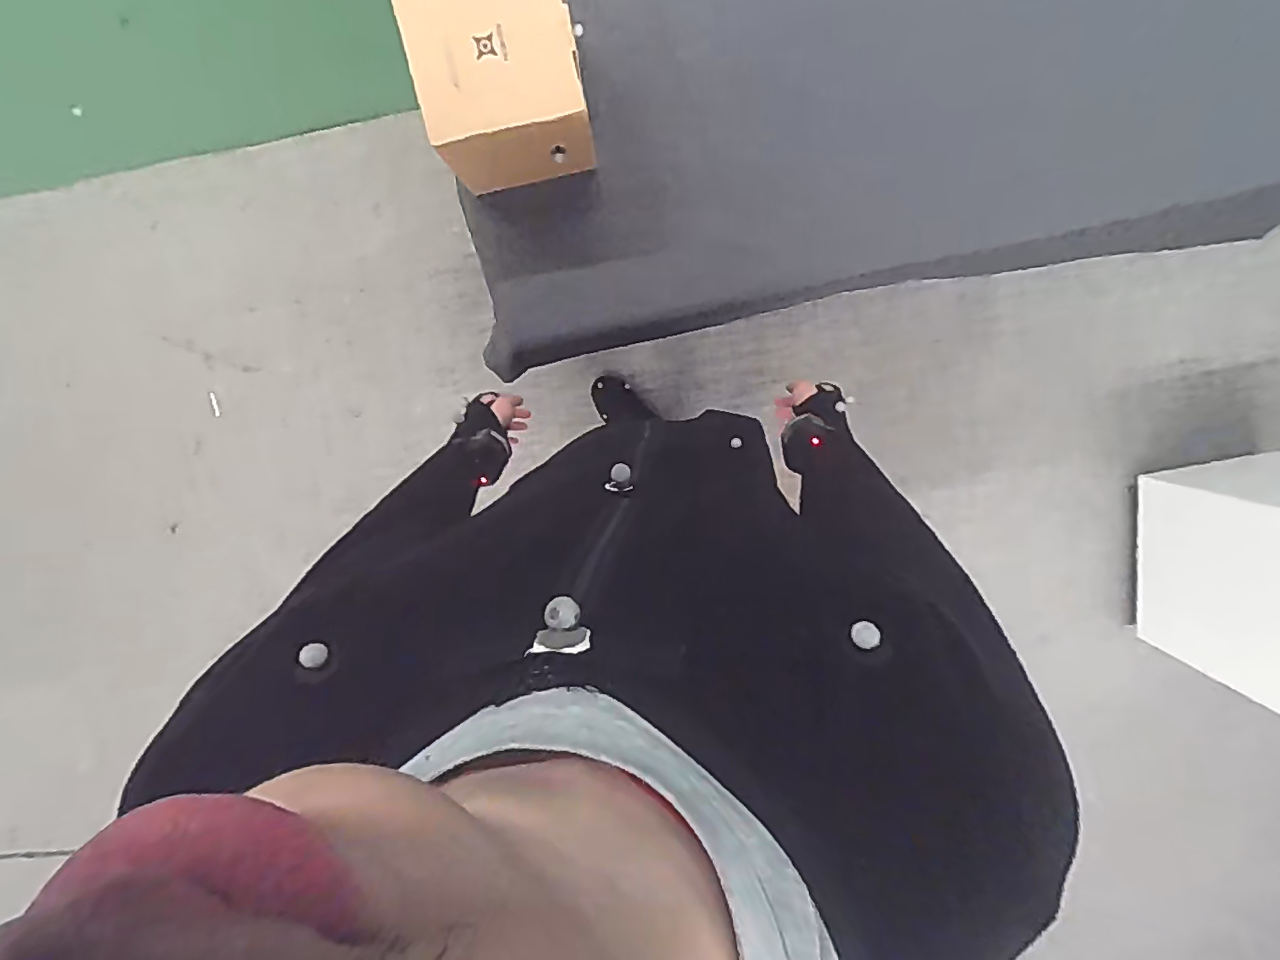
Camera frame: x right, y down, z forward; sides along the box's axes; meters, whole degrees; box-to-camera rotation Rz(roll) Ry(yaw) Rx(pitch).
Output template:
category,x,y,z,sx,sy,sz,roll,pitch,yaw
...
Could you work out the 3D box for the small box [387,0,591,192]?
category,x,y,z,sx,sy,sz,roll,pitch,yaw
small box,-0.157,-0.458,0.619,0.179,0.176,0.168,-14,100,0
